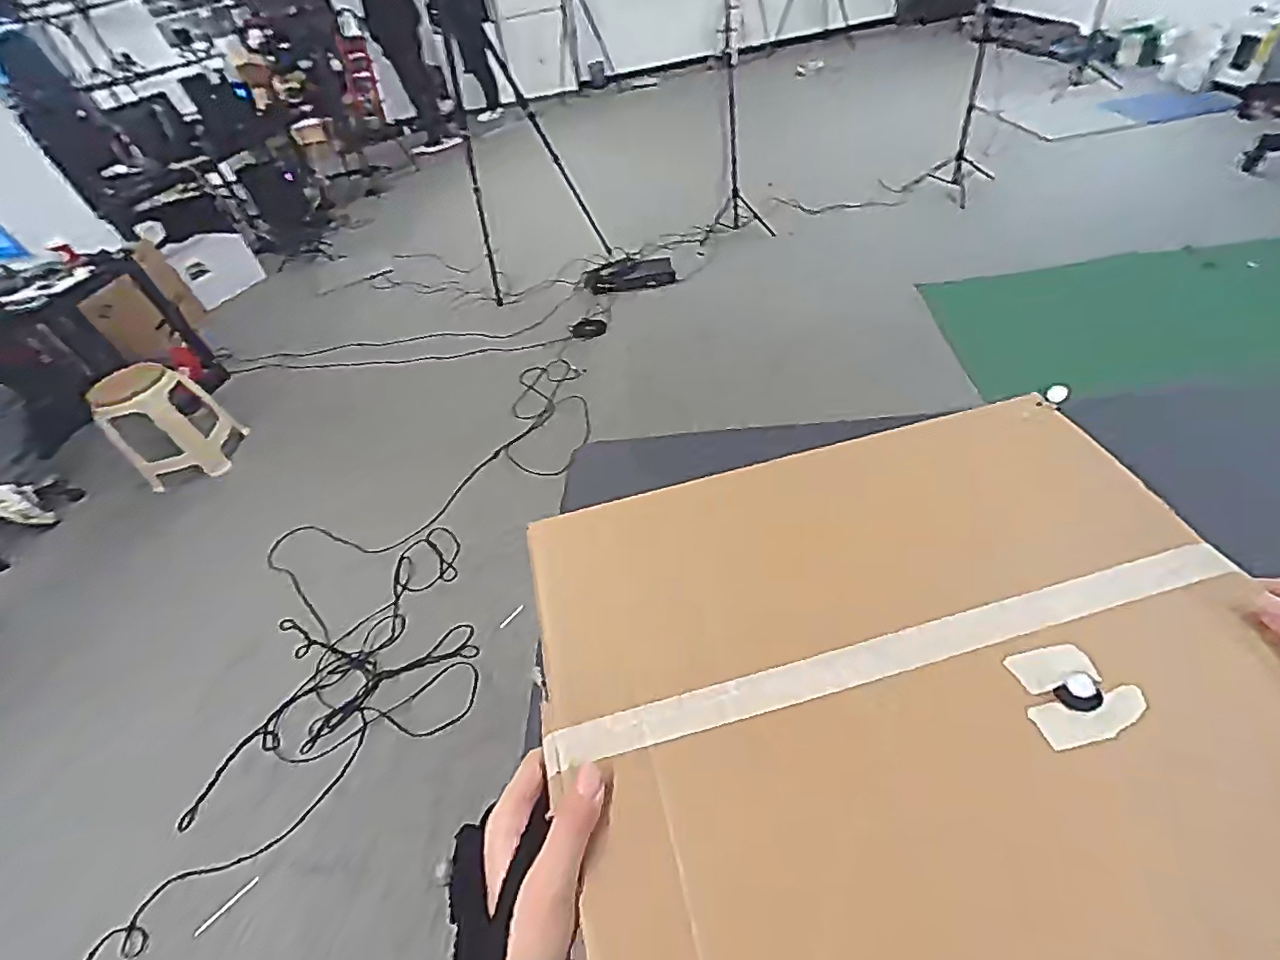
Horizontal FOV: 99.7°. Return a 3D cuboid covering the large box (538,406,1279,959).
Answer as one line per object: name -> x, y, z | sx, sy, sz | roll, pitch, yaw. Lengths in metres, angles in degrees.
large box -> 0.163, 0.194, 0.433 | 0.408, 0.320, 0.320 | -14, 51, -5
